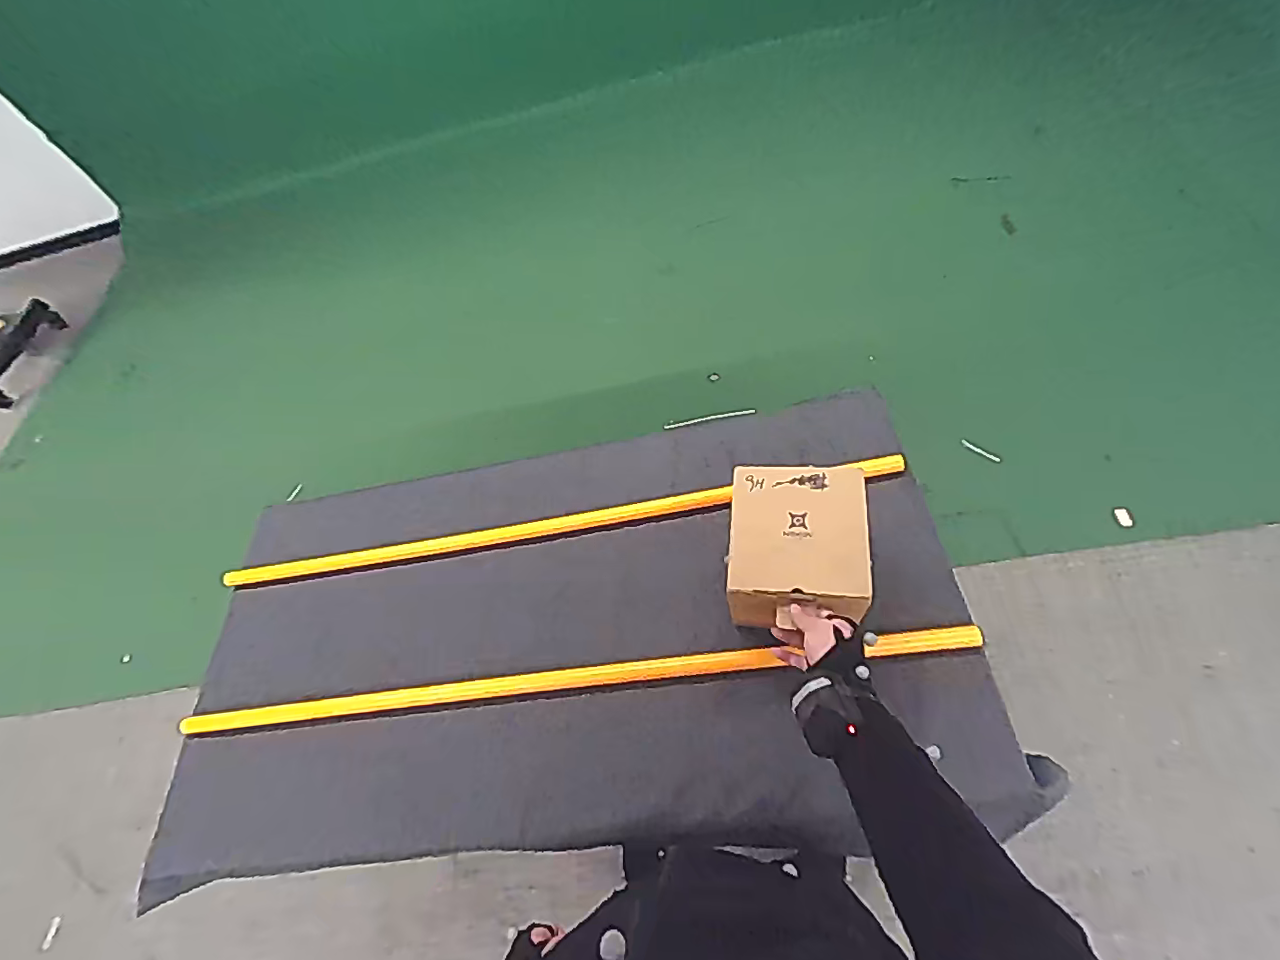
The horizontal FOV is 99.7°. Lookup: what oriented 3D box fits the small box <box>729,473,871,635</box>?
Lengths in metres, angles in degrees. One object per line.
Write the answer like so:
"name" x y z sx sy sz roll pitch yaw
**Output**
"small box" 0.216 0.108 0.743 0.168 0.176 0.179 -2 60 15
